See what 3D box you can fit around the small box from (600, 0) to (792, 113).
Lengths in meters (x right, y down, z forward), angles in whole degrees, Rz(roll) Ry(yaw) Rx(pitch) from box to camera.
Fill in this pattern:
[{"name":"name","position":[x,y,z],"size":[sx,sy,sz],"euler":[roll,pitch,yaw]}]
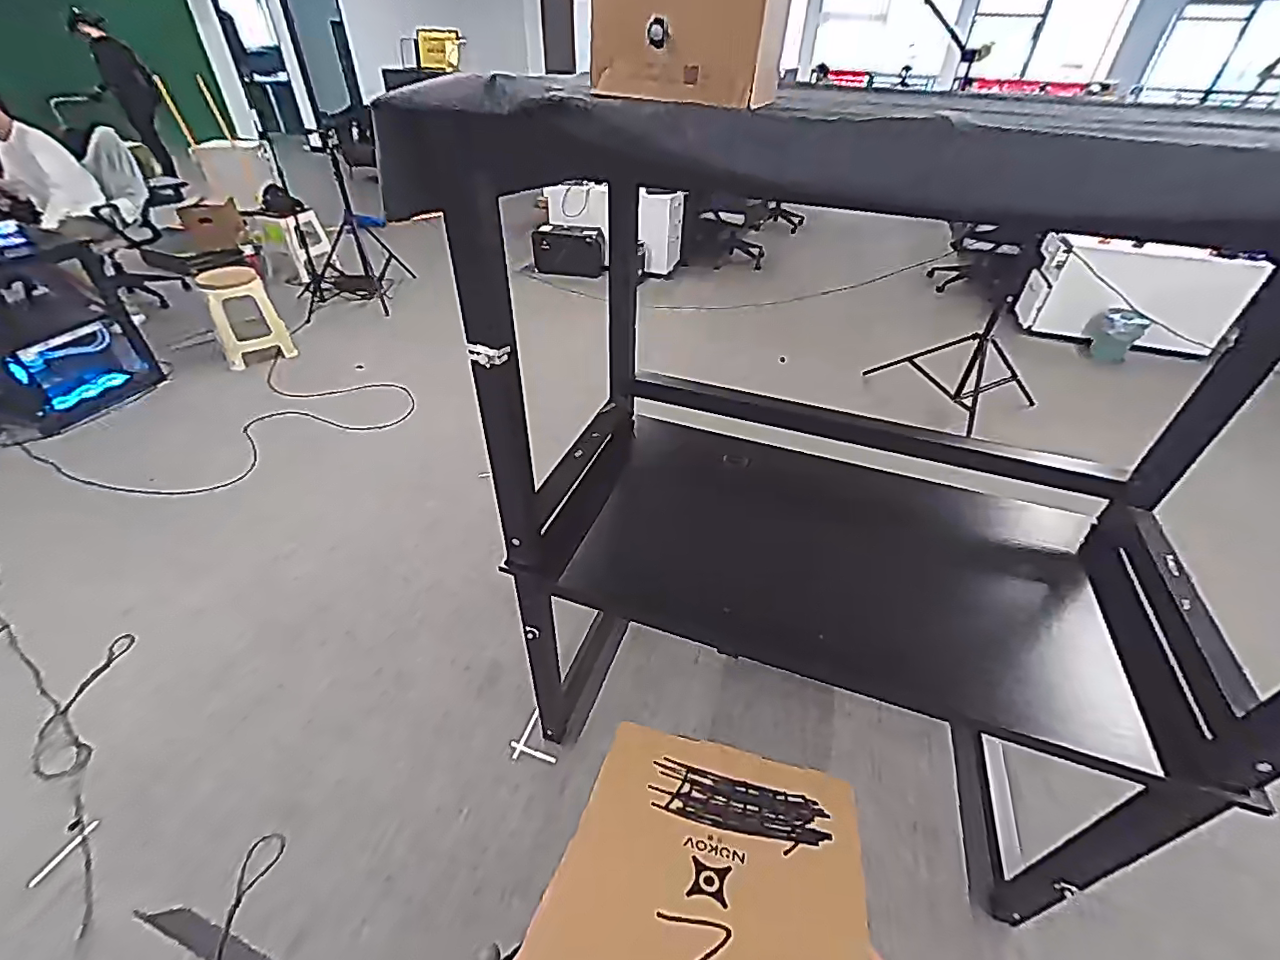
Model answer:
[{"name":"small box","position":[0.061,-0.484,0.545],"size":[0.168,0.176,0.179],"euler":[14,39,12]}]
